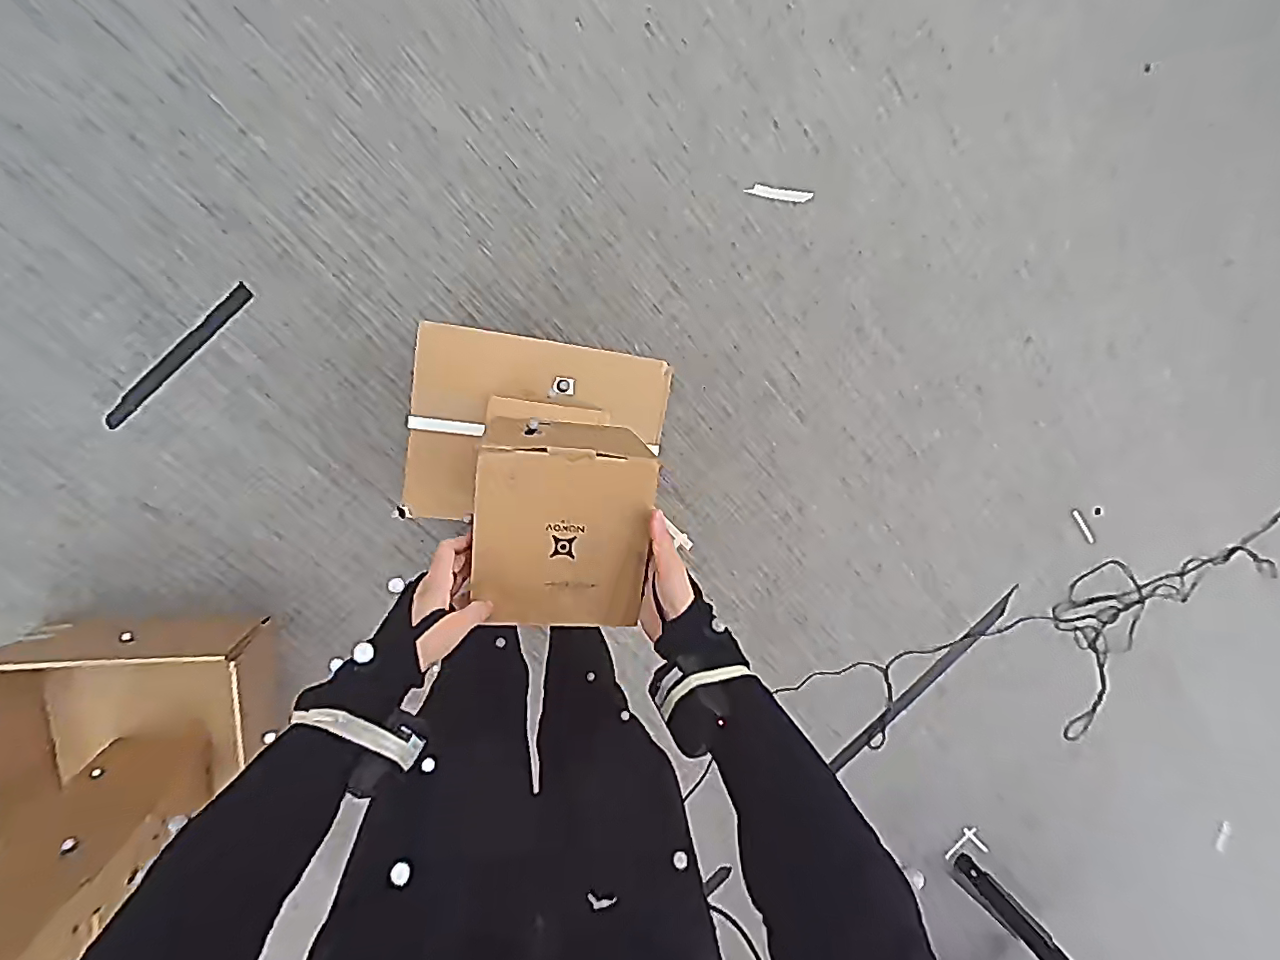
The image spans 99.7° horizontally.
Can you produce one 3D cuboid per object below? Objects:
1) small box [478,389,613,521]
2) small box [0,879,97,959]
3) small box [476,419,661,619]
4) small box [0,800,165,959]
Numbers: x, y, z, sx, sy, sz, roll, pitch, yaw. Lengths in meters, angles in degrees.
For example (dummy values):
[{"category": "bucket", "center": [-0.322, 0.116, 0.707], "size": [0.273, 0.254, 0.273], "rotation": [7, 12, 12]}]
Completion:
[{"category": "small box", "center": [-0.145, -0.035, 0.811], "size": [0.168, 0.176, 0.179], "rotation": [6, 100, -15]}, {"category": "small box", "center": [-0.891, 0.677, 0.721], "size": [0.179, 0.176, 0.168], "rotation": [5, 100, -14]}, {"category": "small box", "center": [-0.083, 0.033, 0.588], "size": [0.168, 0.176, 0.179], "rotation": [3, 104, -12]}, {"category": "small box", "center": [-0.919, 0.652, 0.880], "size": [0.179, 0.176, 0.168], "rotation": [6, 99, -14]}]
